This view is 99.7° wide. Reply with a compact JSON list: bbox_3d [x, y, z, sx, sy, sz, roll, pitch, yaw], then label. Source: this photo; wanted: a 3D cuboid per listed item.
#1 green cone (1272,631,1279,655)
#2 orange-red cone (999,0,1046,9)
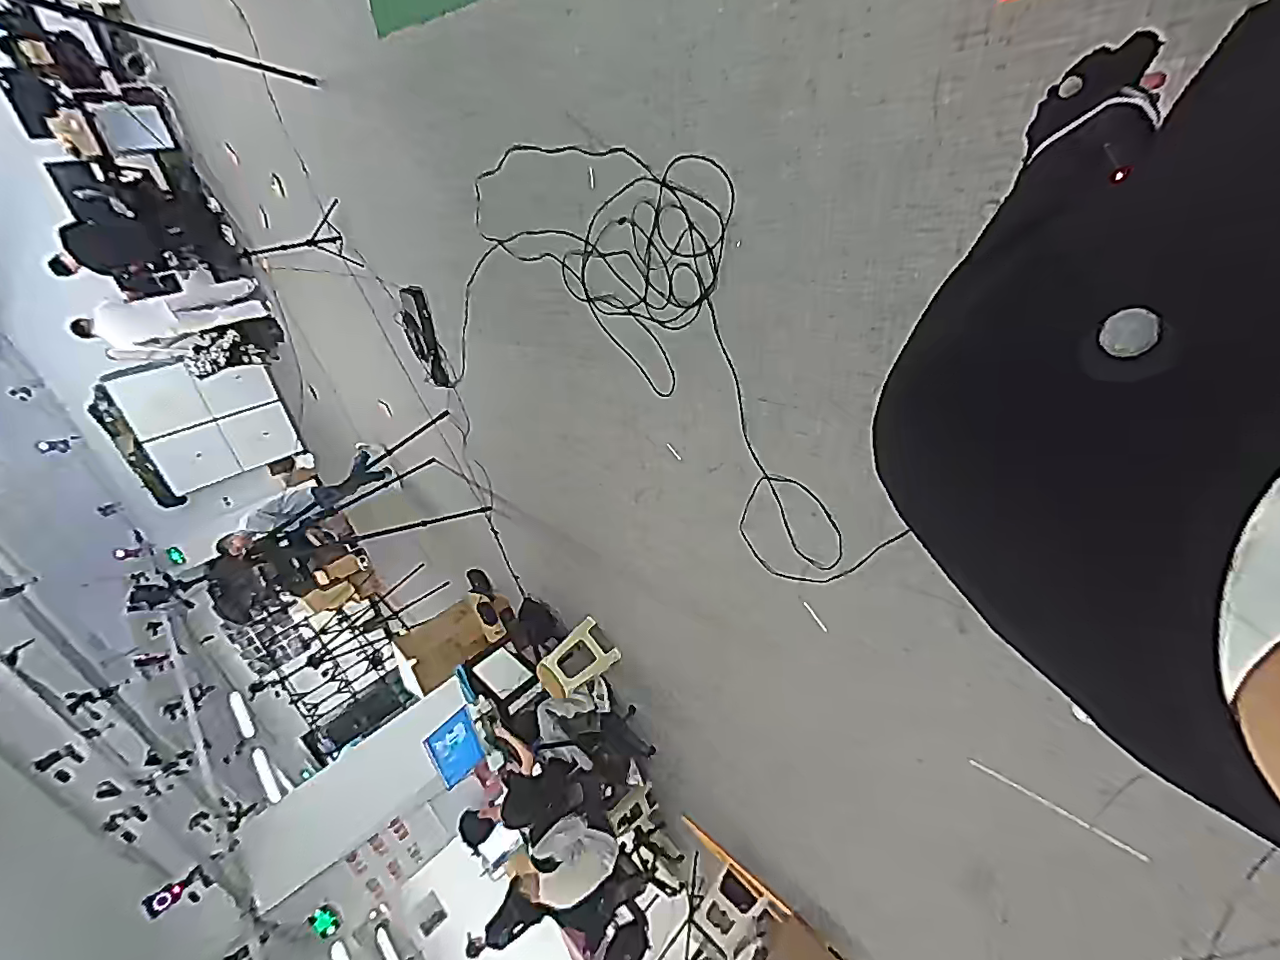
[{"bbox_3d":[1.304,0.388,0.970,0.202,0.368,0.200,22,131,42],"label":"green cone"},{"bbox_3d":[0.631,-0.895,0.847,0.198,0.360,0.199,24,133,41],"label":"orange-red cone"}]
